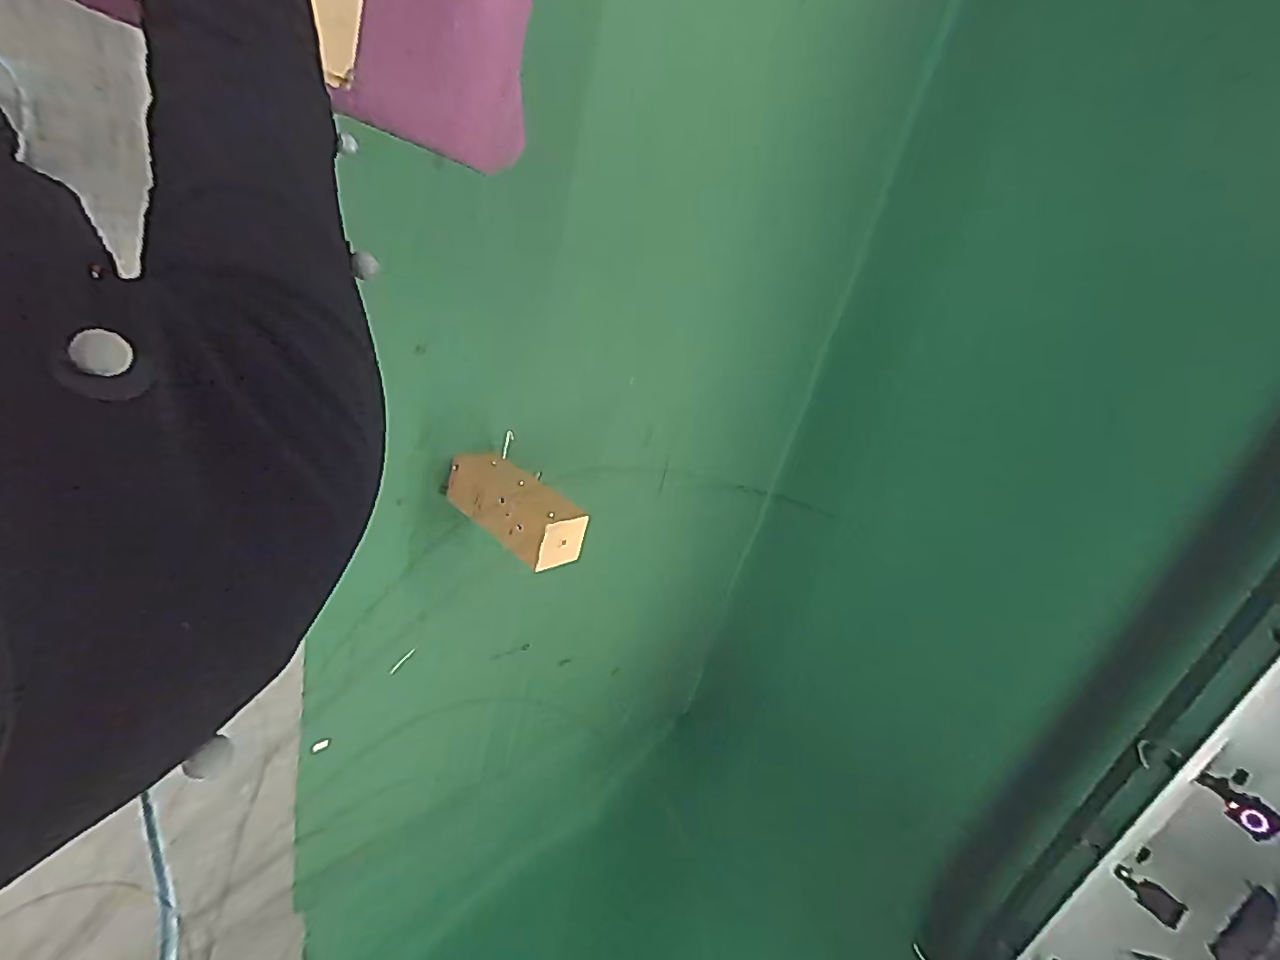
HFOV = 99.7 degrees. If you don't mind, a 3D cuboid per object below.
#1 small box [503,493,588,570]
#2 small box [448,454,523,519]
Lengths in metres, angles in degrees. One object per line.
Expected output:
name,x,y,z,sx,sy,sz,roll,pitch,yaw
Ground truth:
small box,-0.297,0.152,1.688,0.179,0.176,0.168,-10,123,-50
small box,-0.537,0.016,1.863,0.179,0.176,0.168,-7,121,-51
